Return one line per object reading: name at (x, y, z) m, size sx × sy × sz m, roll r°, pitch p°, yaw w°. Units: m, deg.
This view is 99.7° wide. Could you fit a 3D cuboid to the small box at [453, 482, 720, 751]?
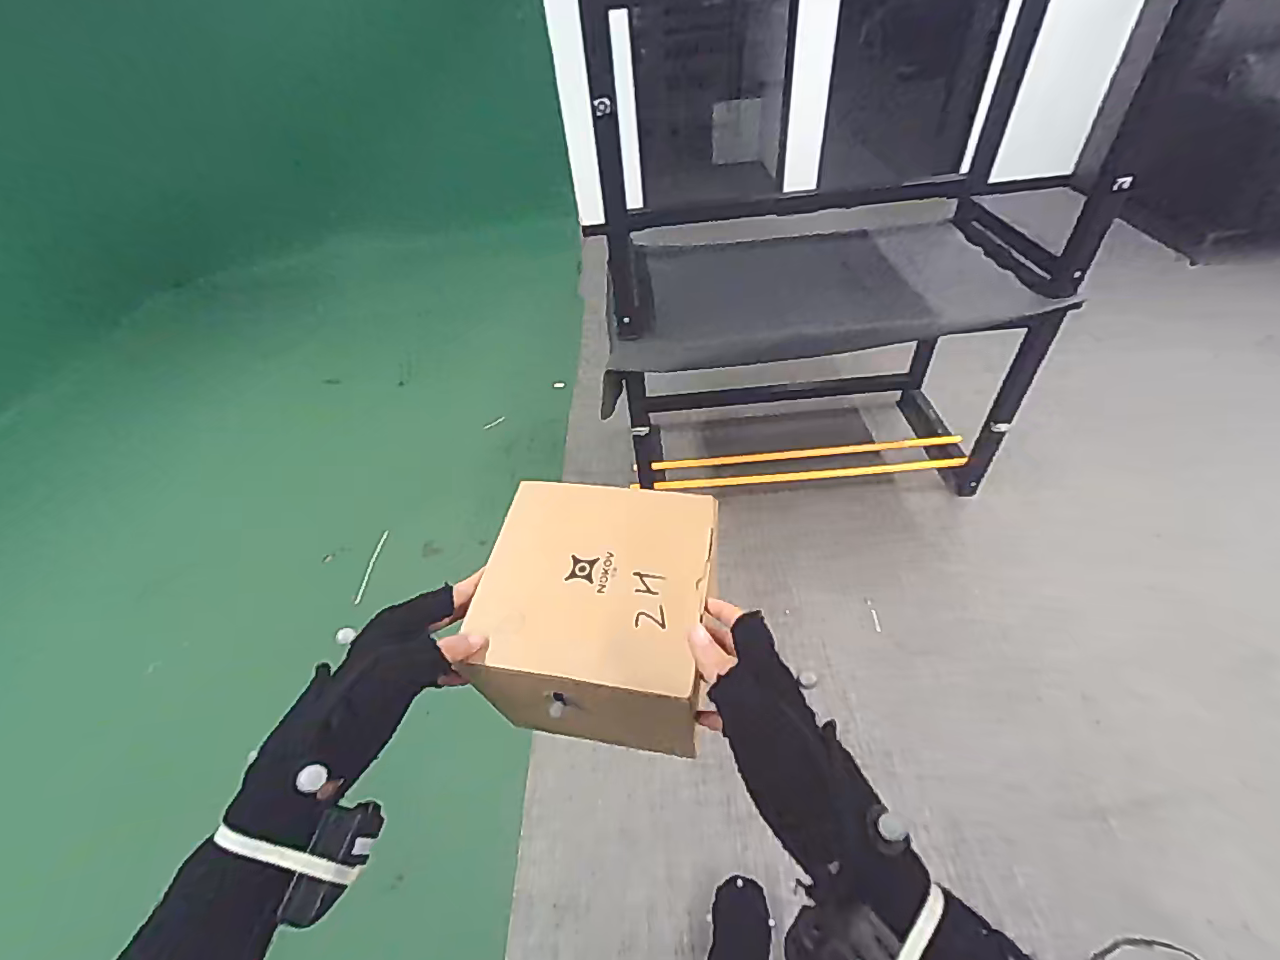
small box at (-0.027, 0.123, 0.479) m, size 0.179 × 0.176 × 0.168 m, roll 6°, pitch 52°, yaw 12°
